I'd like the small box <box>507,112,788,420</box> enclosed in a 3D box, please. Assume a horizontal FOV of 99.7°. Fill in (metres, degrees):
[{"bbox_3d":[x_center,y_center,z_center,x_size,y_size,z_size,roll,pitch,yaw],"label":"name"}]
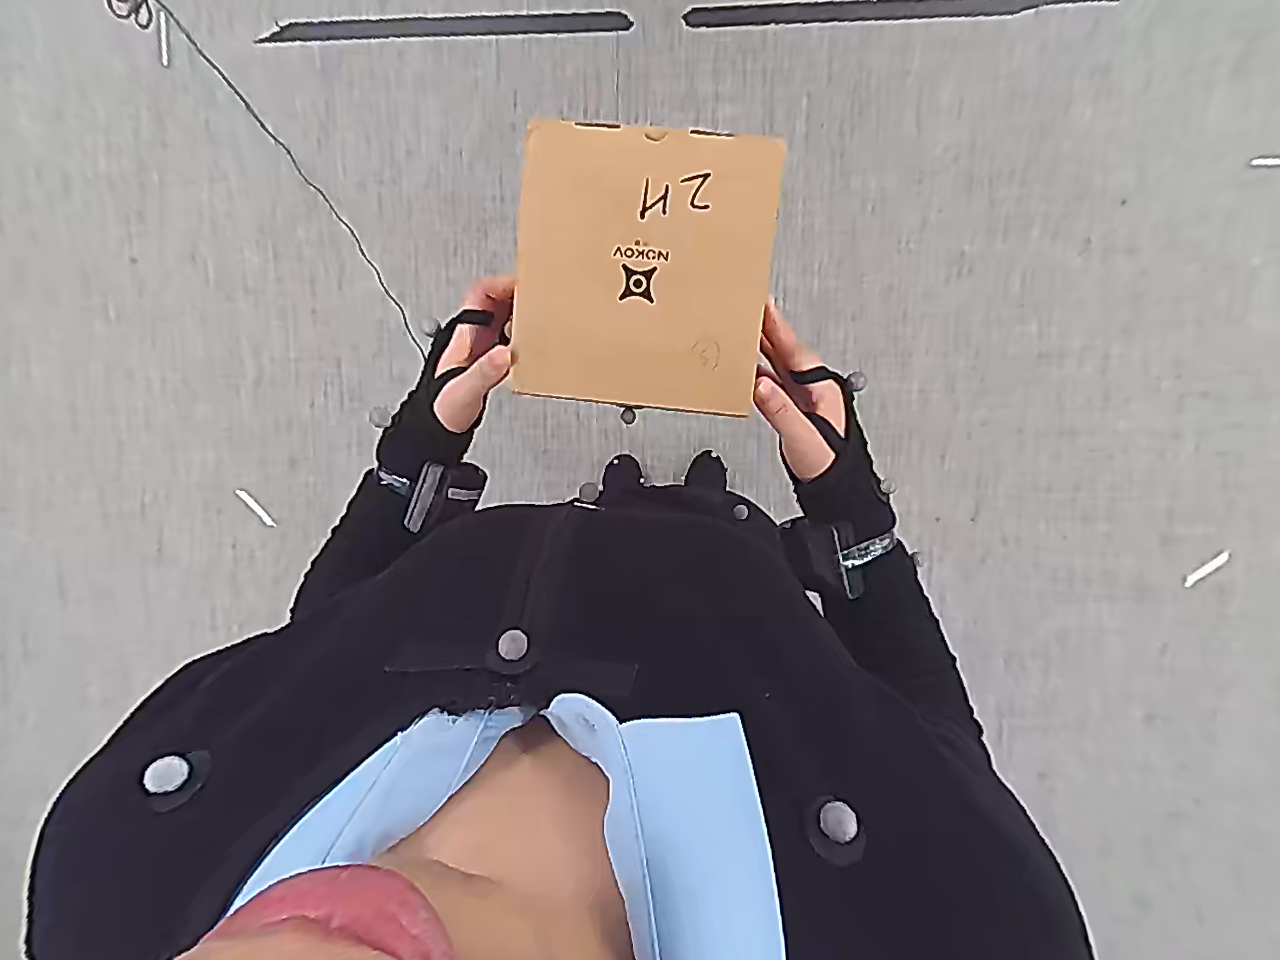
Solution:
[{"bbox_3d":[0.006,-0.144,0.422,0.168,0.176,0.179,6,97,2],"label":"small box"}]
